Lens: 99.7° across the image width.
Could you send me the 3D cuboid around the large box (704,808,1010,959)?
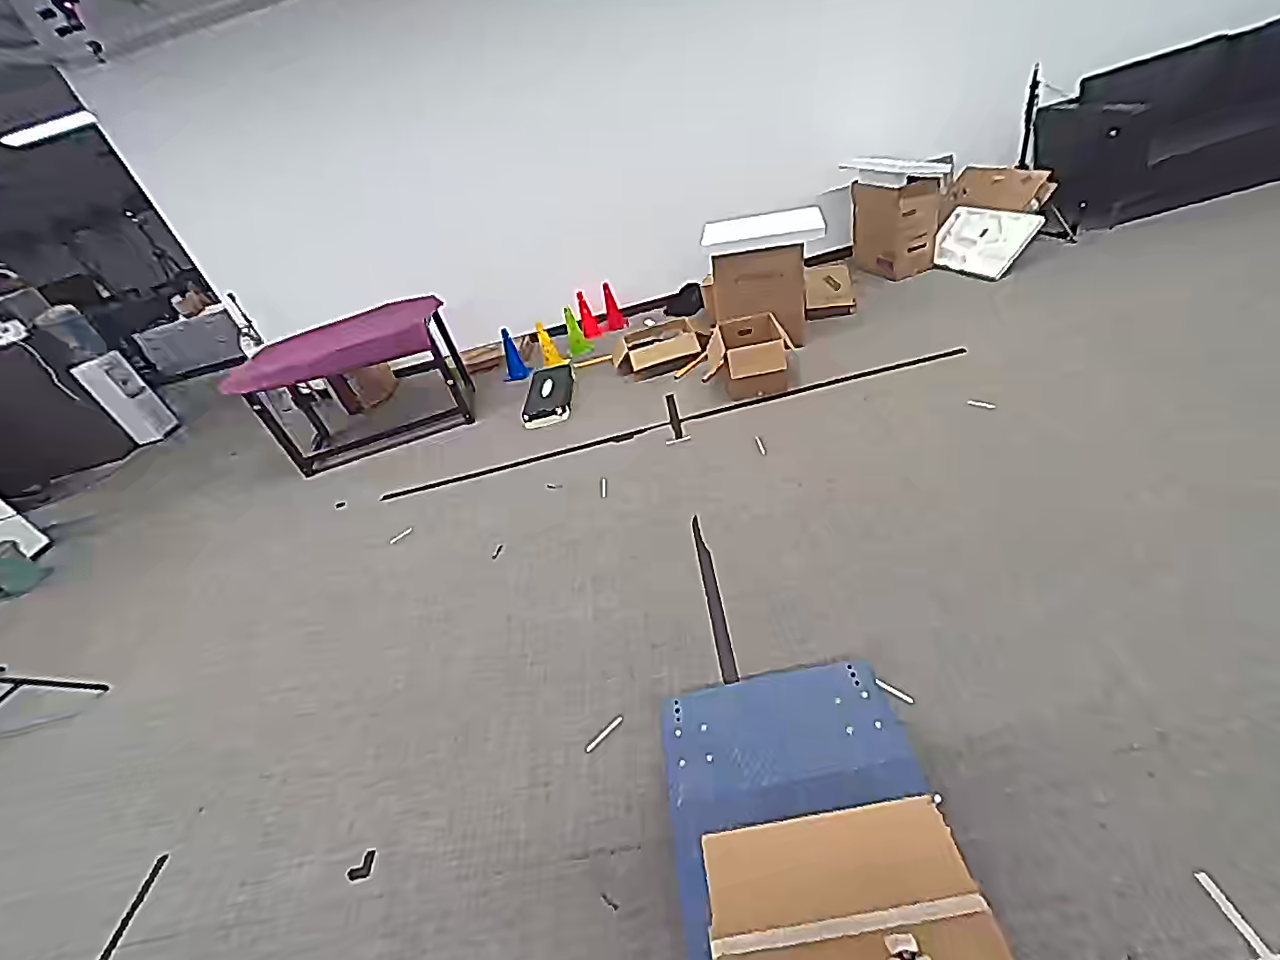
[{"bbox_3d":[0.344,0.797,0.872,0.408,0.320,0.320,-13,35,4],"label":"large box"}]
